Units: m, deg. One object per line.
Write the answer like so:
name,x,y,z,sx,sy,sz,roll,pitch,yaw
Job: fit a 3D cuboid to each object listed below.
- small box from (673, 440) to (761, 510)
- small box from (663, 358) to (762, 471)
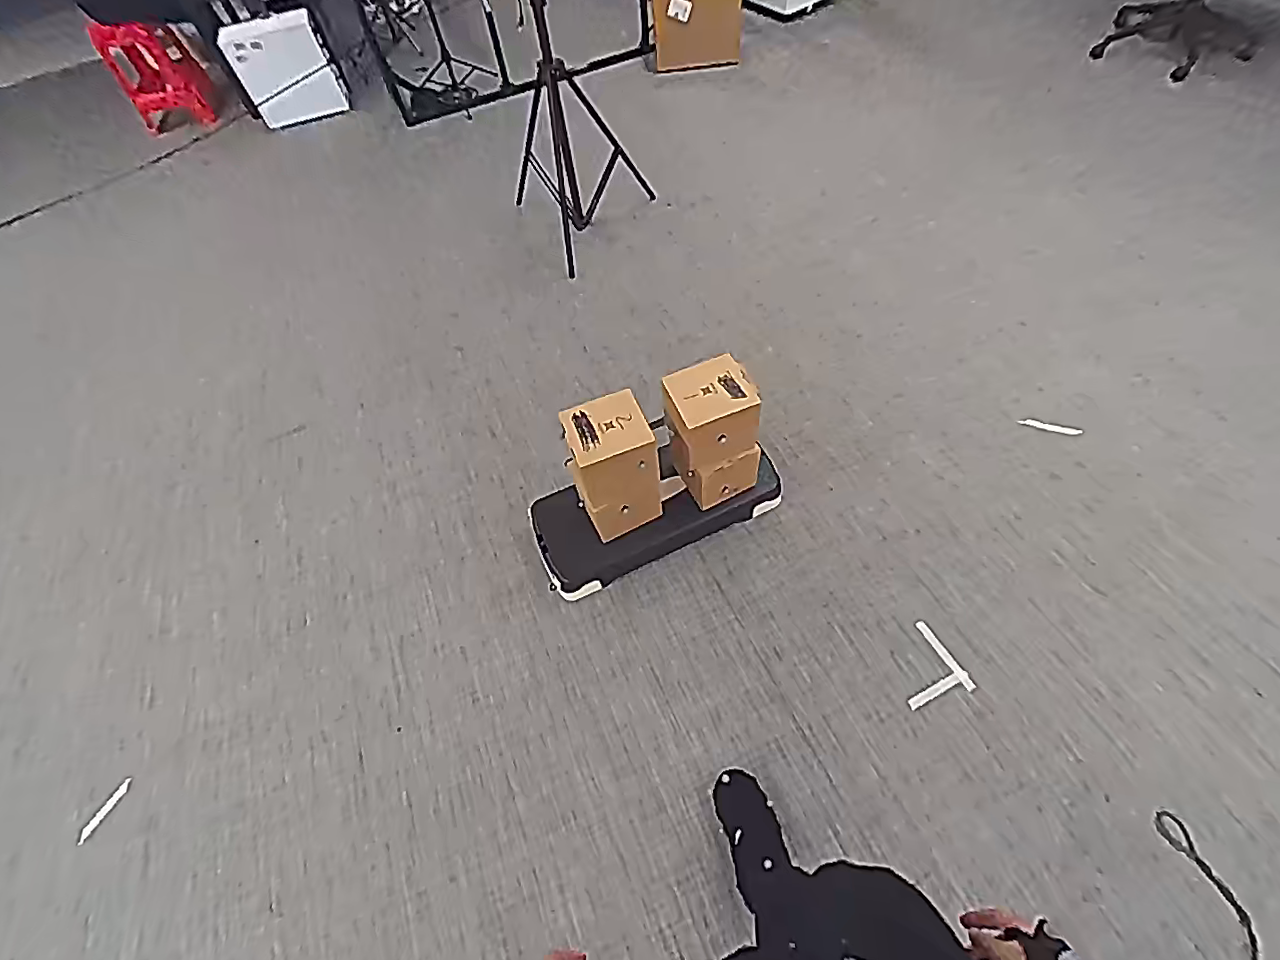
small box,0.190,-0.054,1.398,0.168,0.176,0.179,-25,60,-10
small box,0.165,-0.150,1.266,0.179,0.176,0.168,-21,59,-6
